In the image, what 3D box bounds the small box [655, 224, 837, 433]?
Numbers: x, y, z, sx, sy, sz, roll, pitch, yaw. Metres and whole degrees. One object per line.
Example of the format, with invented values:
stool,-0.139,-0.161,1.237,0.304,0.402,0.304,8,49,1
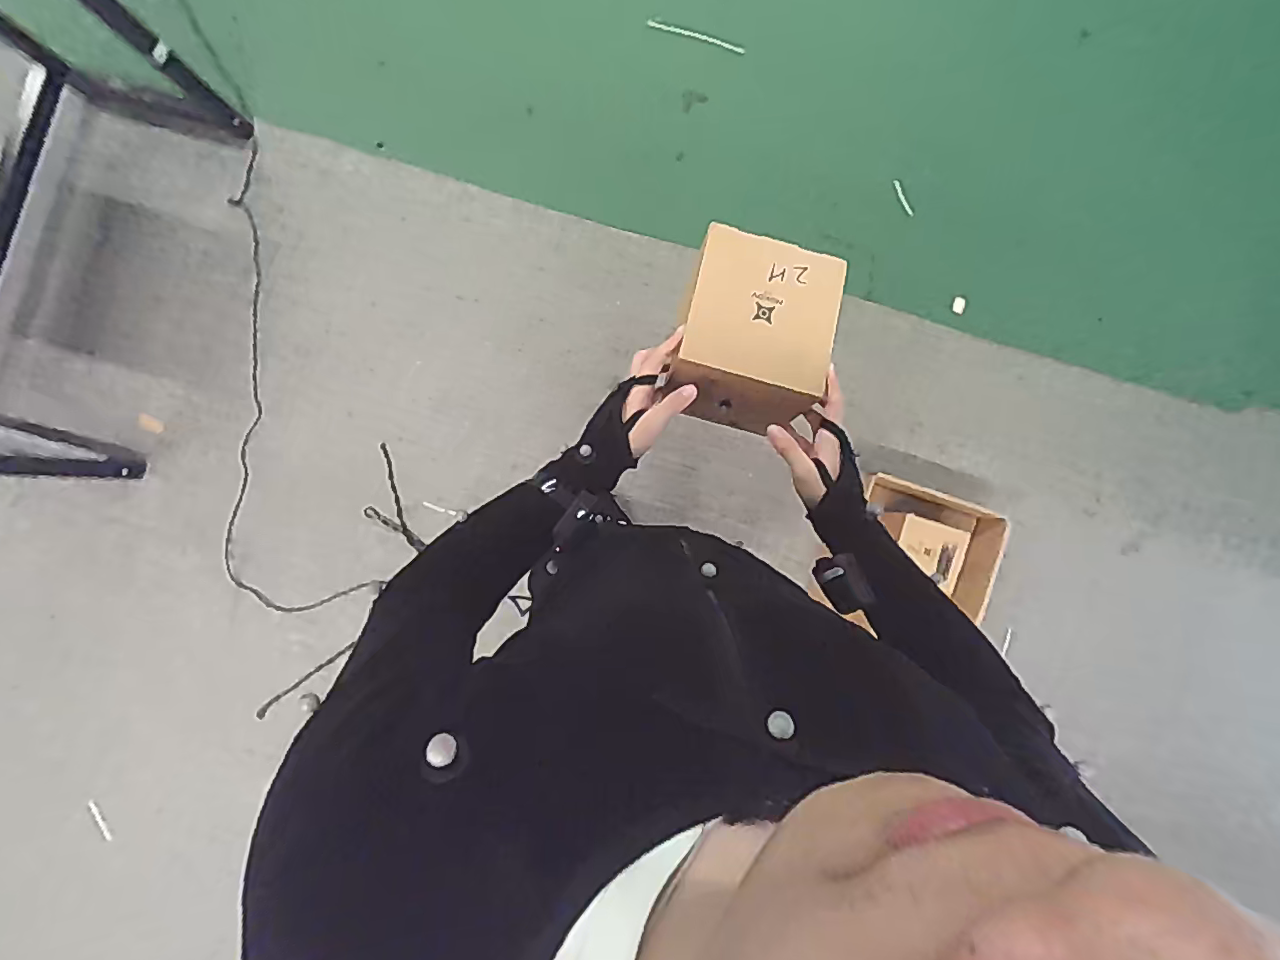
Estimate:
small box,0.121,-0.175,0.678,0.168,0.176,0.179,15,78,-3
